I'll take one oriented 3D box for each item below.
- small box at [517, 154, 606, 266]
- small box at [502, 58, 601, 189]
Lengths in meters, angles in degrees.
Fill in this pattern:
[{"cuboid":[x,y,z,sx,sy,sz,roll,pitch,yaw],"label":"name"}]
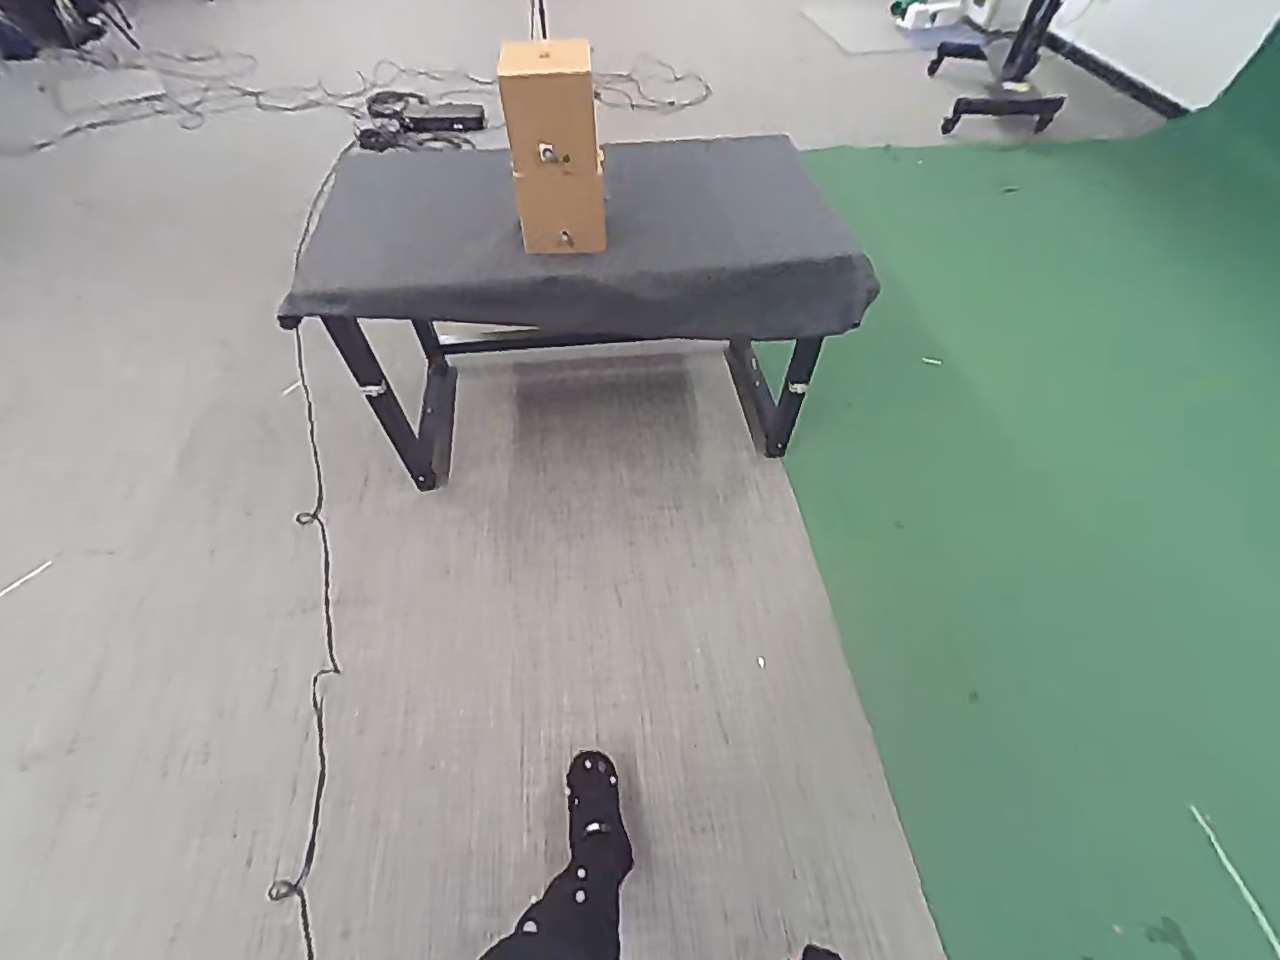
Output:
[{"cuboid":[-0.163,-0.586,1.178,0.179,0.176,0.168,-3,52,-3],"label":"small box"},{"cuboid":[-0.166,-0.692,1.054,0.168,0.176,0.179,-5,54,-2],"label":"small box"}]
